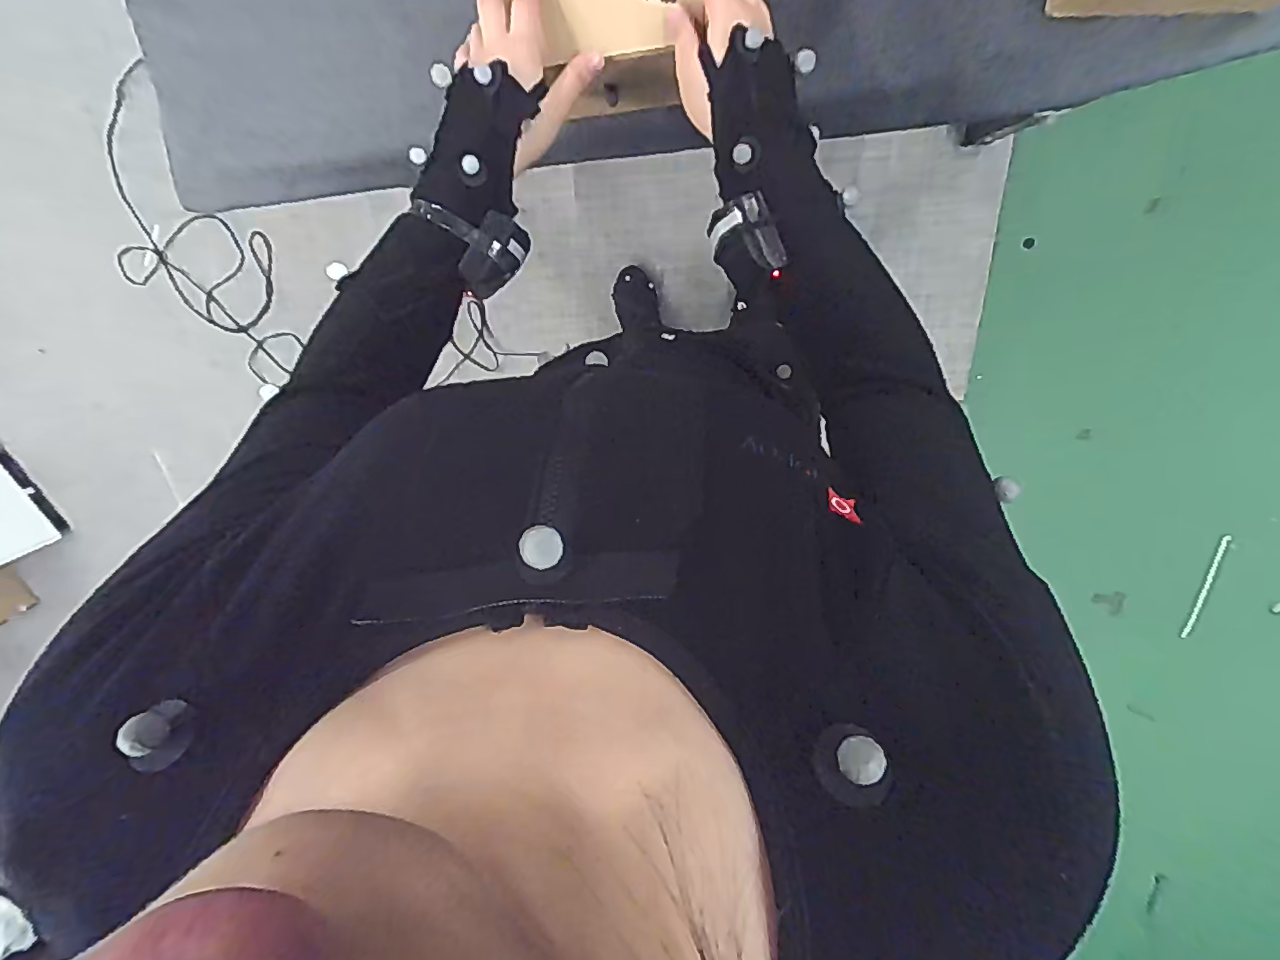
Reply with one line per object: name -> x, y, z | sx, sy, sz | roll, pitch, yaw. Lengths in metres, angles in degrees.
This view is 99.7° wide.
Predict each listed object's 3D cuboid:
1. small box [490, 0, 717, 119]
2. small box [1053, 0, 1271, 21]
small box -> -0.023, -0.440, 0.479 | 0.179, 0.176, 0.168 | 1, 113, 13
small box -> 0.440, -0.456, 0.377 | 0.179, 0.176, 0.168 | 6, 112, 9
